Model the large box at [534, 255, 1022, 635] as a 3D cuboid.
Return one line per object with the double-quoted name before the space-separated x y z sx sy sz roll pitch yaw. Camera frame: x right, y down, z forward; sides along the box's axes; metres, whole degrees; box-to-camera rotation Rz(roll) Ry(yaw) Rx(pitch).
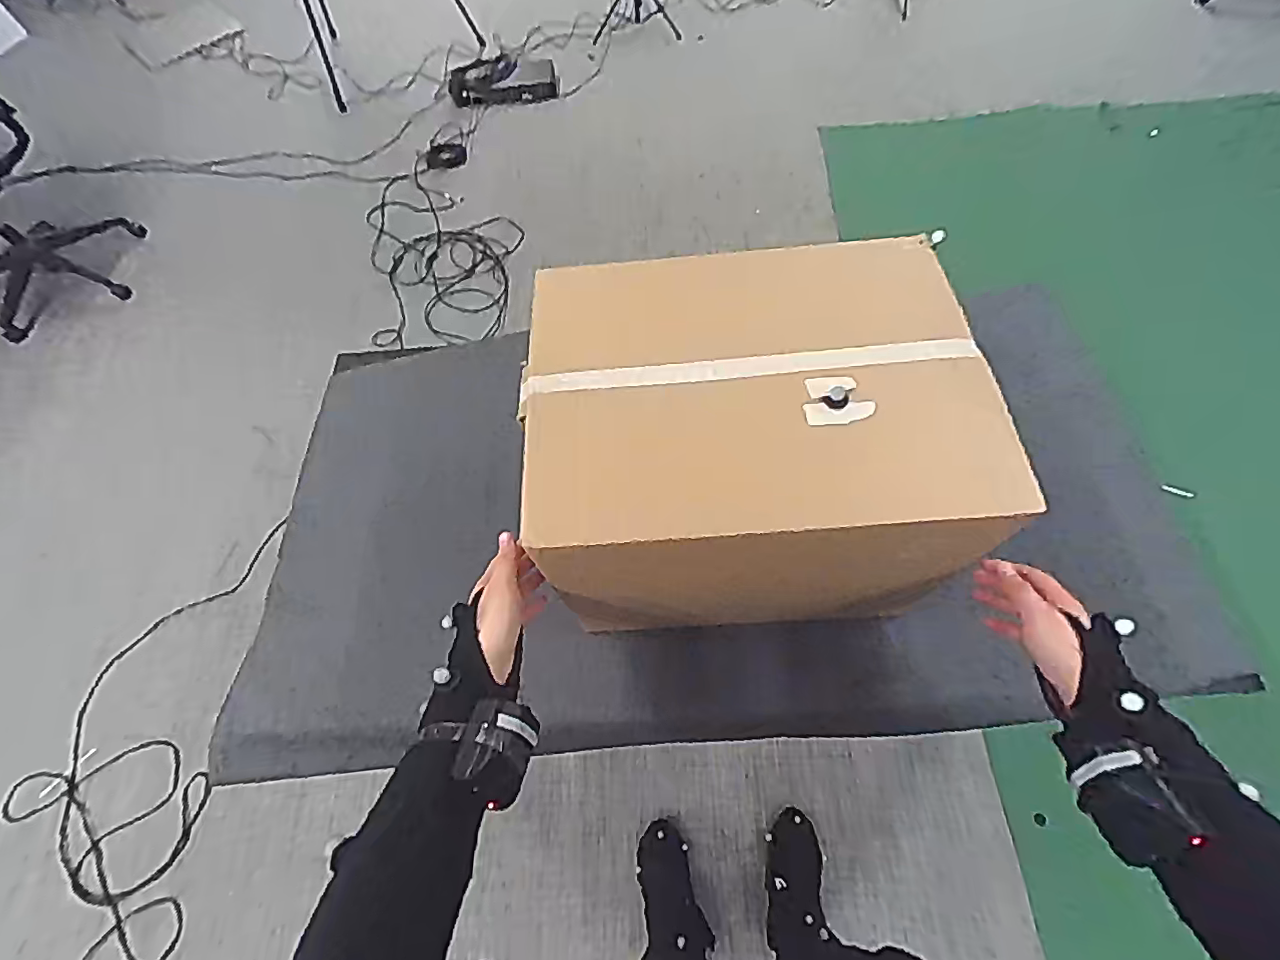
"large box" 0.109 -0.017 0.635 0.408 0.320 0.320 -4 63 2
